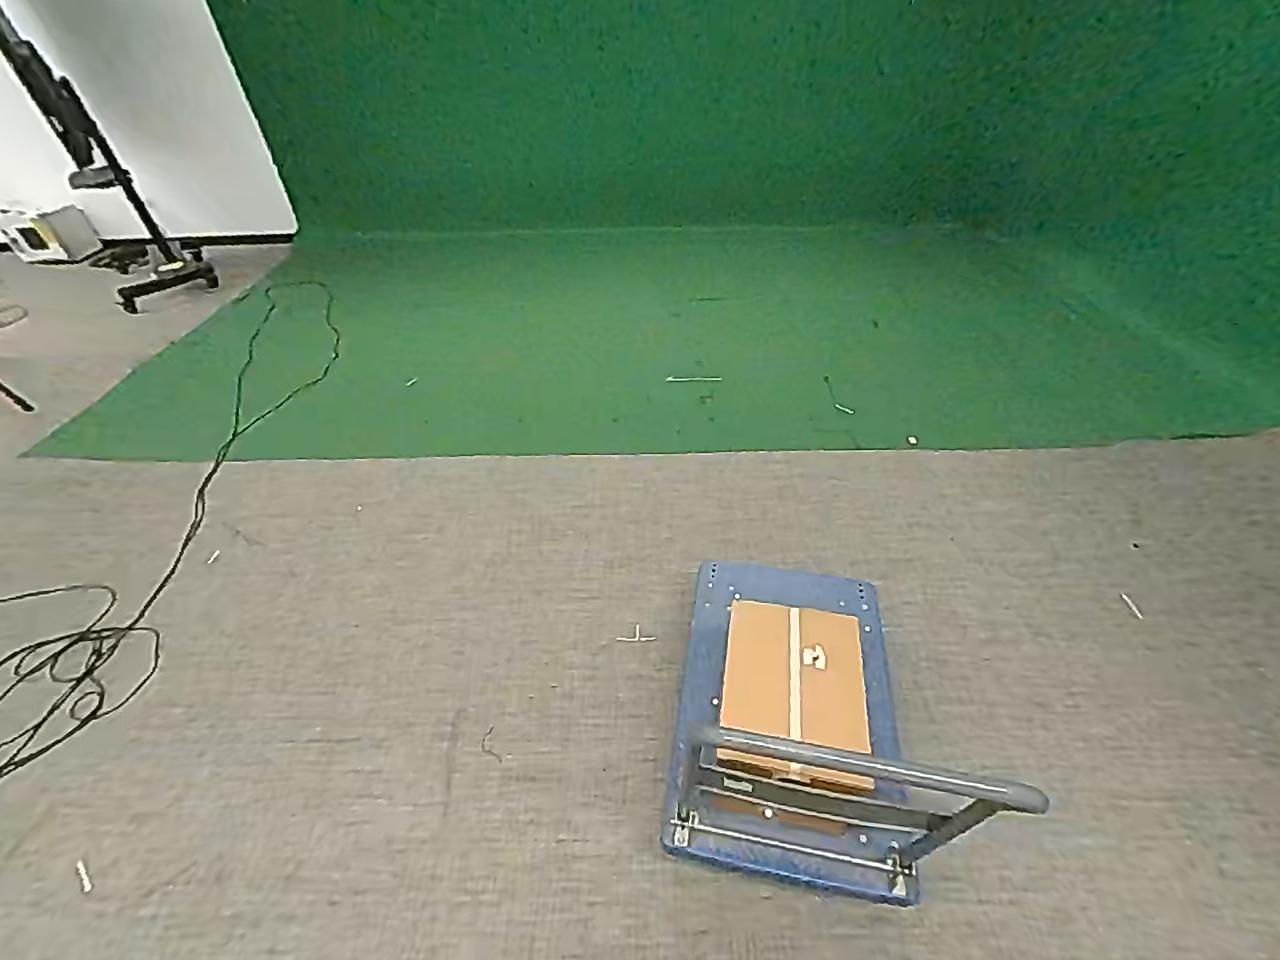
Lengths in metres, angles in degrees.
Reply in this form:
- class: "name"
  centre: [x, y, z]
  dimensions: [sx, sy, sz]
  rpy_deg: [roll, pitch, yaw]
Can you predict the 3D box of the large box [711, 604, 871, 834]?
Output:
- class: "large box"
  centre: [0.348, 0.577, 1.332]
  dimensions: [0.320, 0.320, 0.408]
  rpy_deg: [7, 42, 9]
